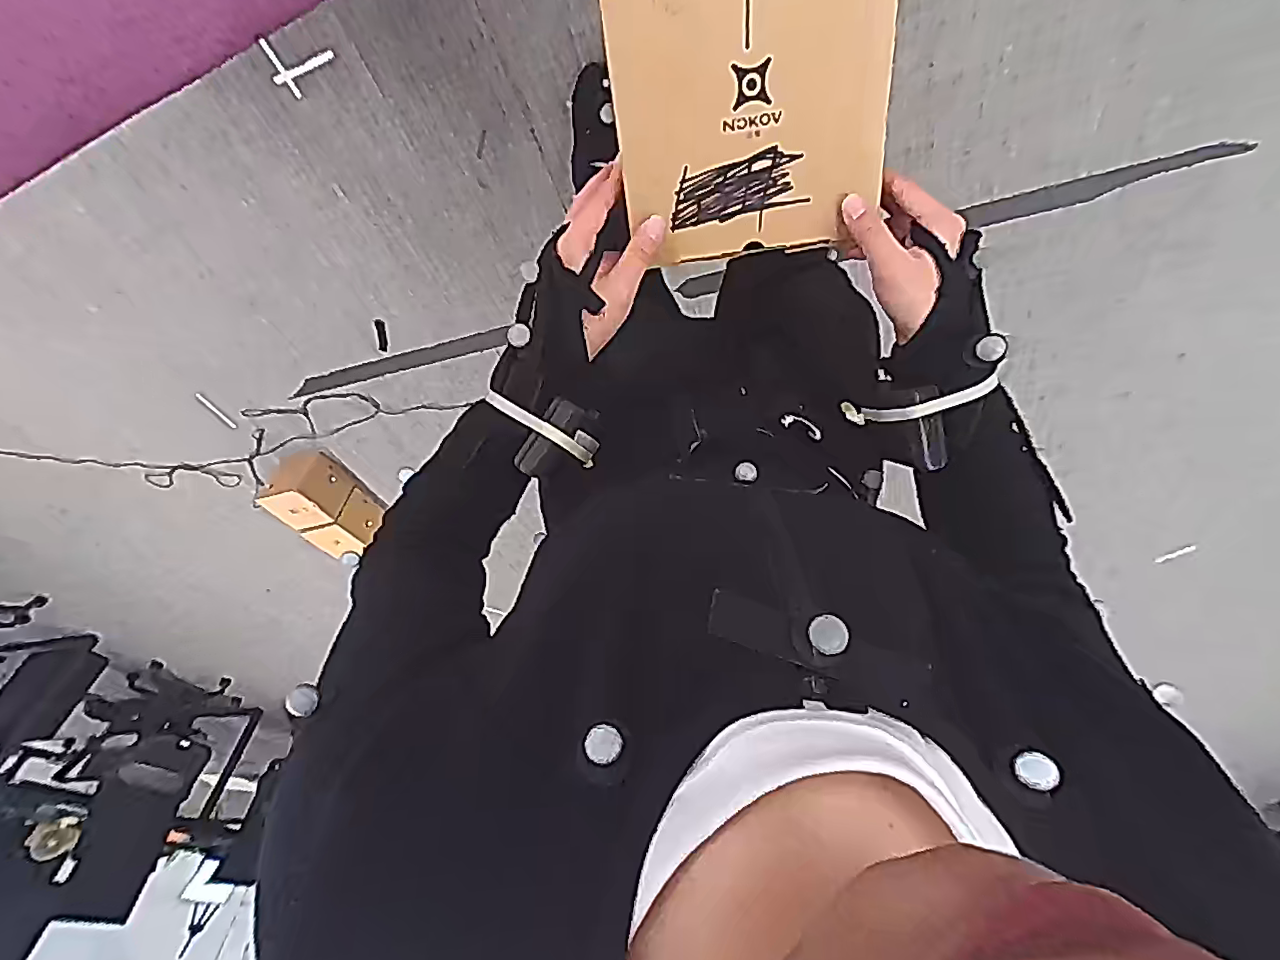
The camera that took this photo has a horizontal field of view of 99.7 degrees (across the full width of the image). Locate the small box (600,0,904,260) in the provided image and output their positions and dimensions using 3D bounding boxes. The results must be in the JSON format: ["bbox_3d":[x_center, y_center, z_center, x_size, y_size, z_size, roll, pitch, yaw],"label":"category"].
[{"bbox_3d":[0.070,-0.273,0.381,0.168,0.176,0.179,-6,122,6],"label":"small box"}]
